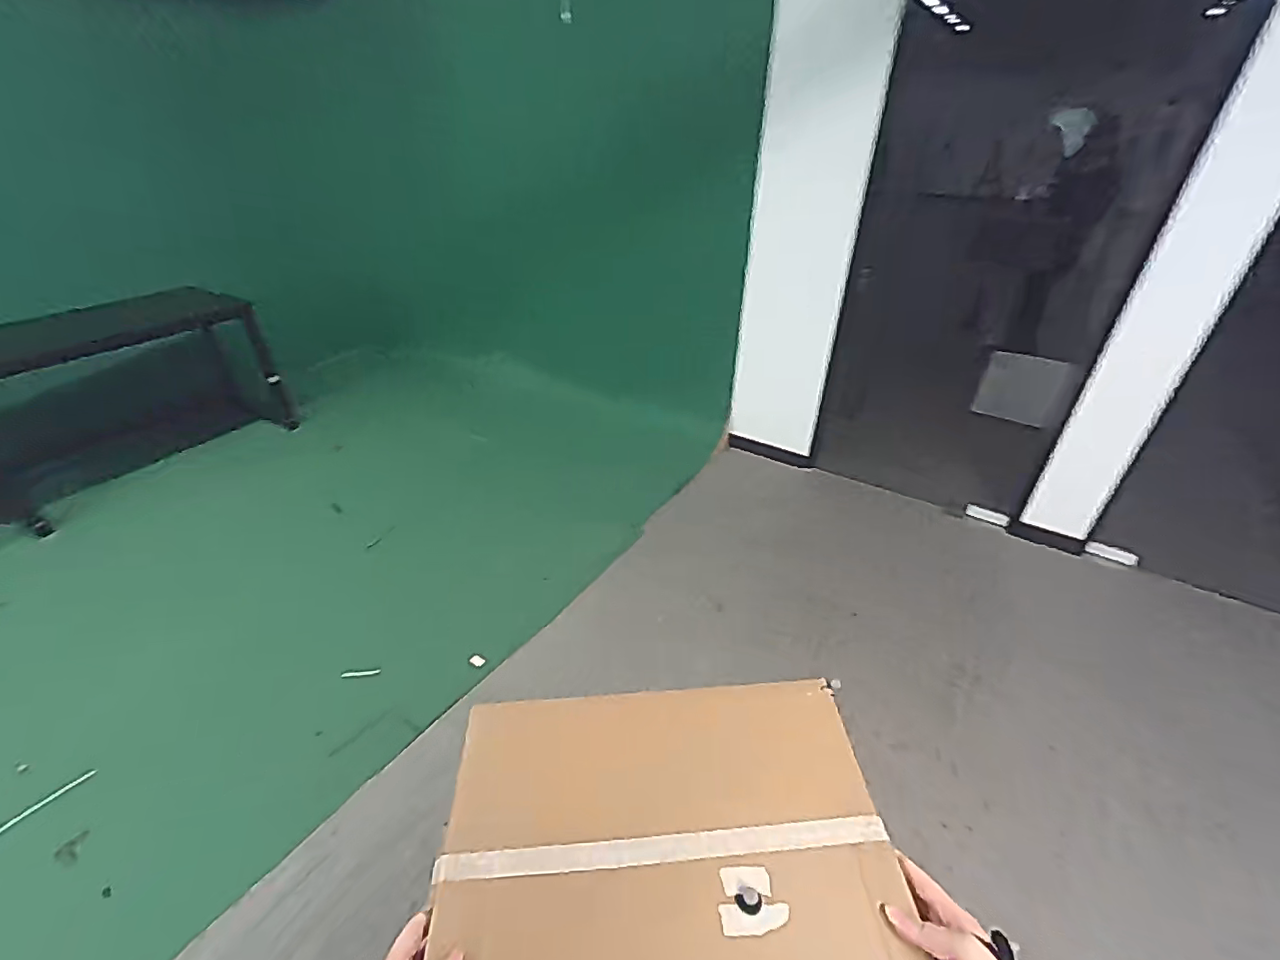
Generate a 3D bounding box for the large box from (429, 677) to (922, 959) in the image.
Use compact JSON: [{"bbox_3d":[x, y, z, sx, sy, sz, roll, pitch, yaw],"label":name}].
[{"bbox_3d":[0.019,0.454,0.591,0.408,0.320,0.320,-3,38,-4],"label":"large box"}]
